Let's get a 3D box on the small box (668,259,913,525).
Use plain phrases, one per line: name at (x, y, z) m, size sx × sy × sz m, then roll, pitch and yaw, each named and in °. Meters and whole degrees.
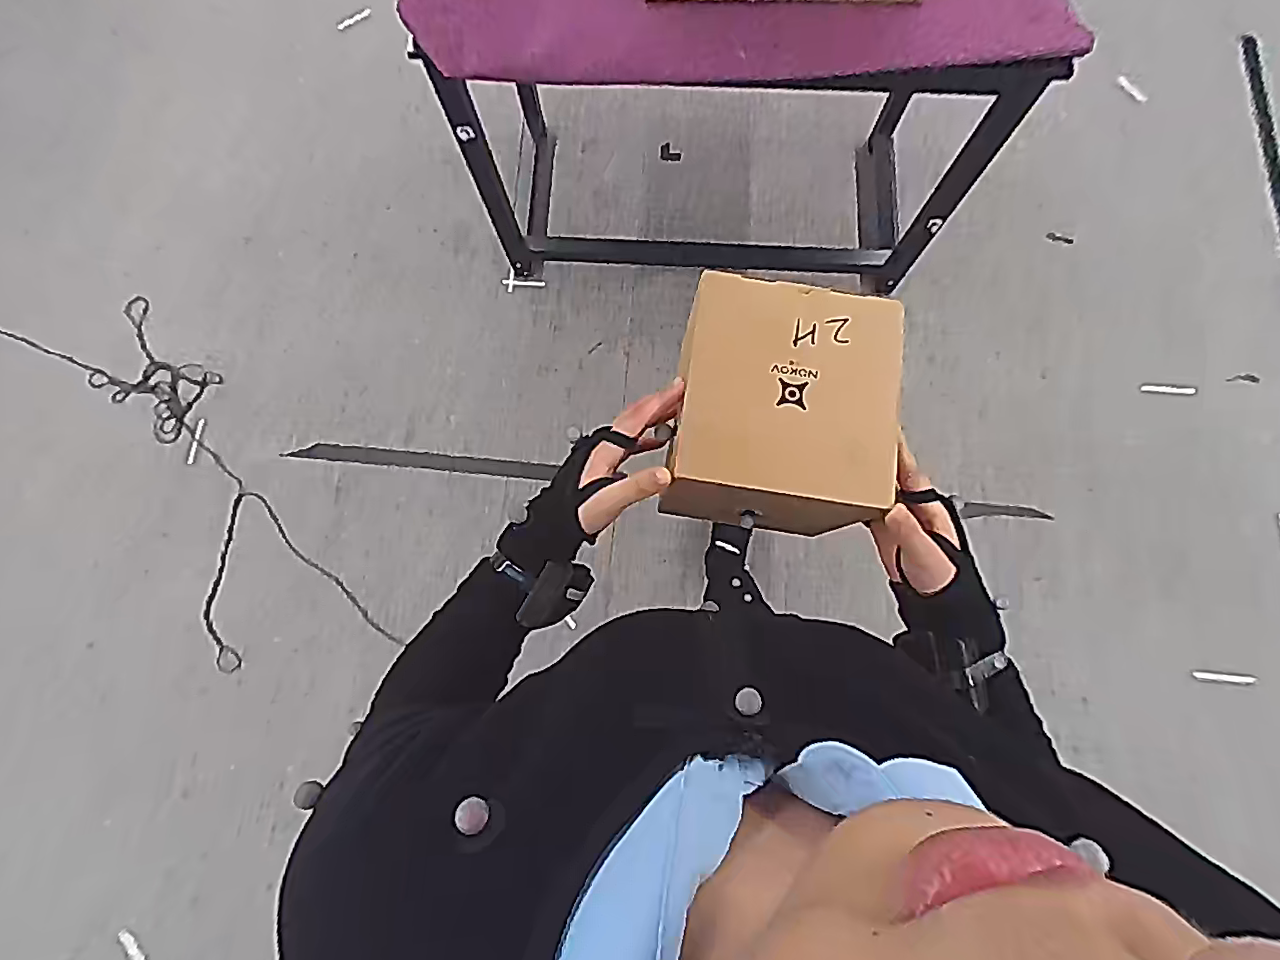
small box at (0.120, -0.063, 0.487) m, size 0.168 × 0.176 × 0.179 m, roll 9°, pitch 76°, yaw 0°
